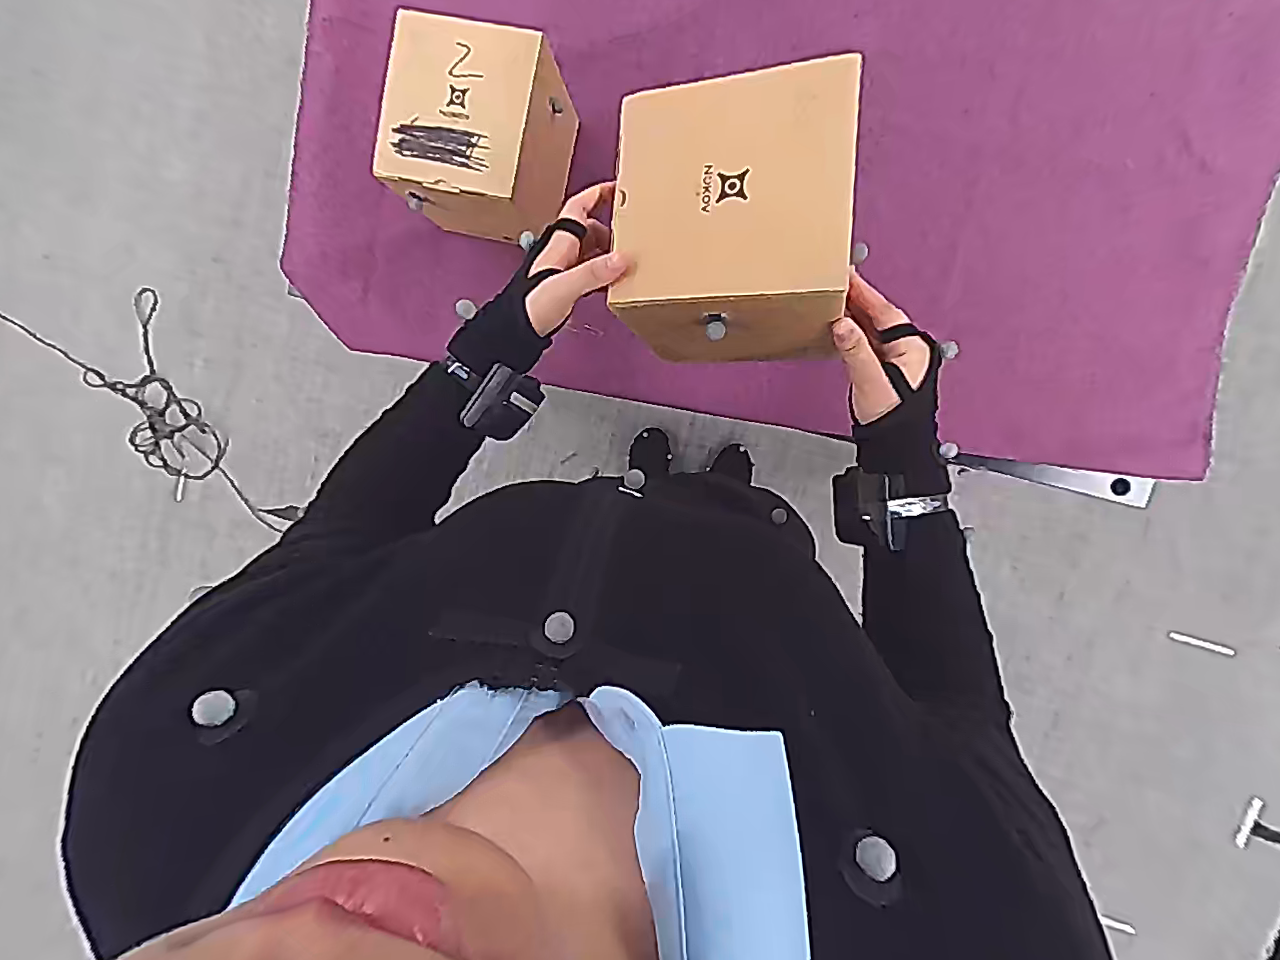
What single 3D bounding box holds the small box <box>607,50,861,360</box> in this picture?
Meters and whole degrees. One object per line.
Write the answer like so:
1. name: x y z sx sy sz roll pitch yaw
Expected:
1. small box: 0.086 -0.205 0.460 0.179 0.176 0.168 2 87 19
